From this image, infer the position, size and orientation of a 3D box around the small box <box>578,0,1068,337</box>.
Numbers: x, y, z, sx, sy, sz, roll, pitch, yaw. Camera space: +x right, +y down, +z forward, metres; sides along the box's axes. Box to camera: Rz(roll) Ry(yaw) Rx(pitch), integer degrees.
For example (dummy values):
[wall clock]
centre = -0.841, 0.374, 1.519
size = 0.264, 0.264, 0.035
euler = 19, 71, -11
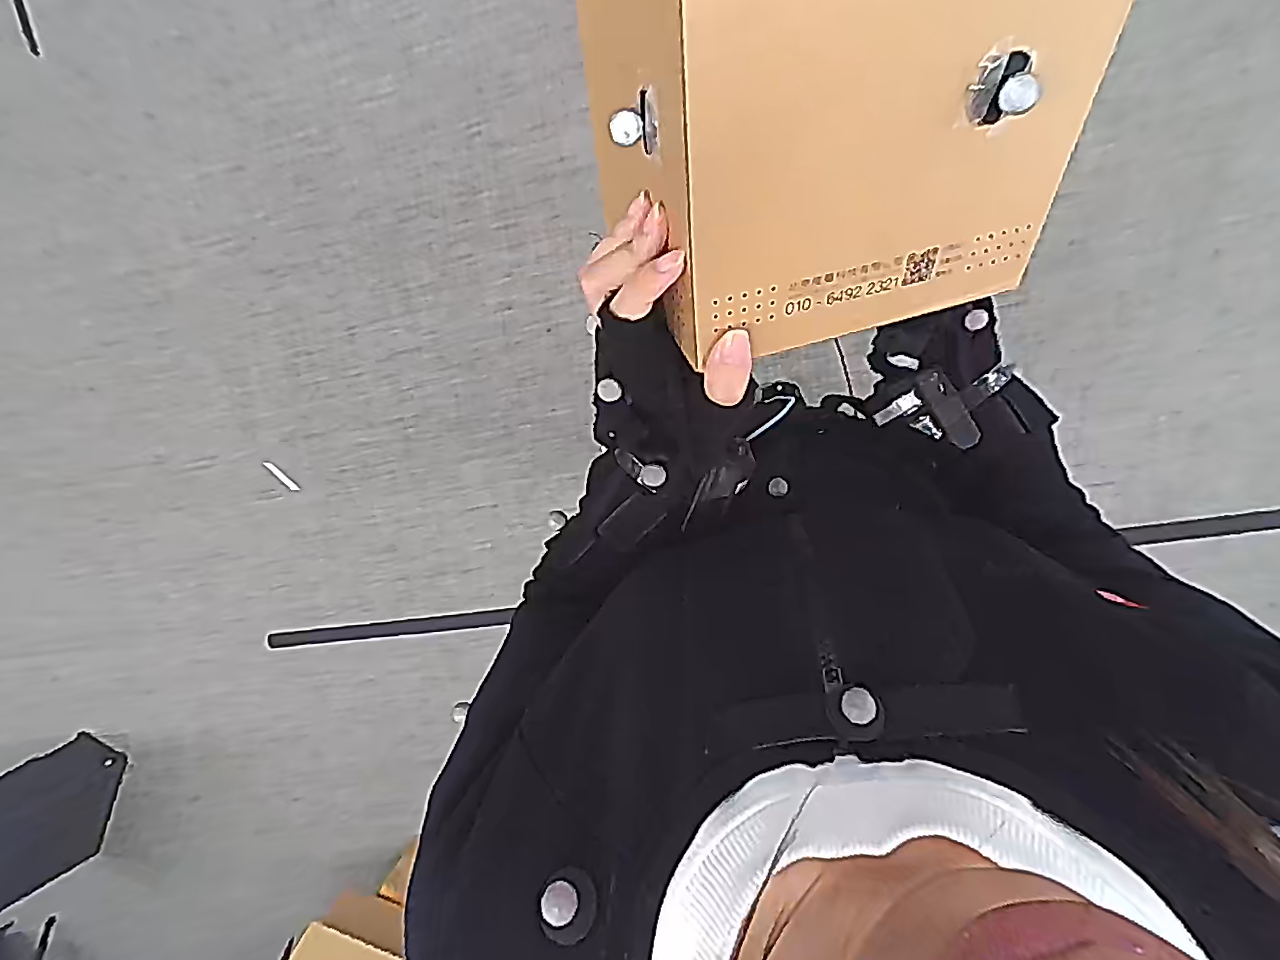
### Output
[small box]
centre = 0.072, -0.188, 0.273
size = 0.168, 0.179, 0.176
euler = -15, 135, -7
